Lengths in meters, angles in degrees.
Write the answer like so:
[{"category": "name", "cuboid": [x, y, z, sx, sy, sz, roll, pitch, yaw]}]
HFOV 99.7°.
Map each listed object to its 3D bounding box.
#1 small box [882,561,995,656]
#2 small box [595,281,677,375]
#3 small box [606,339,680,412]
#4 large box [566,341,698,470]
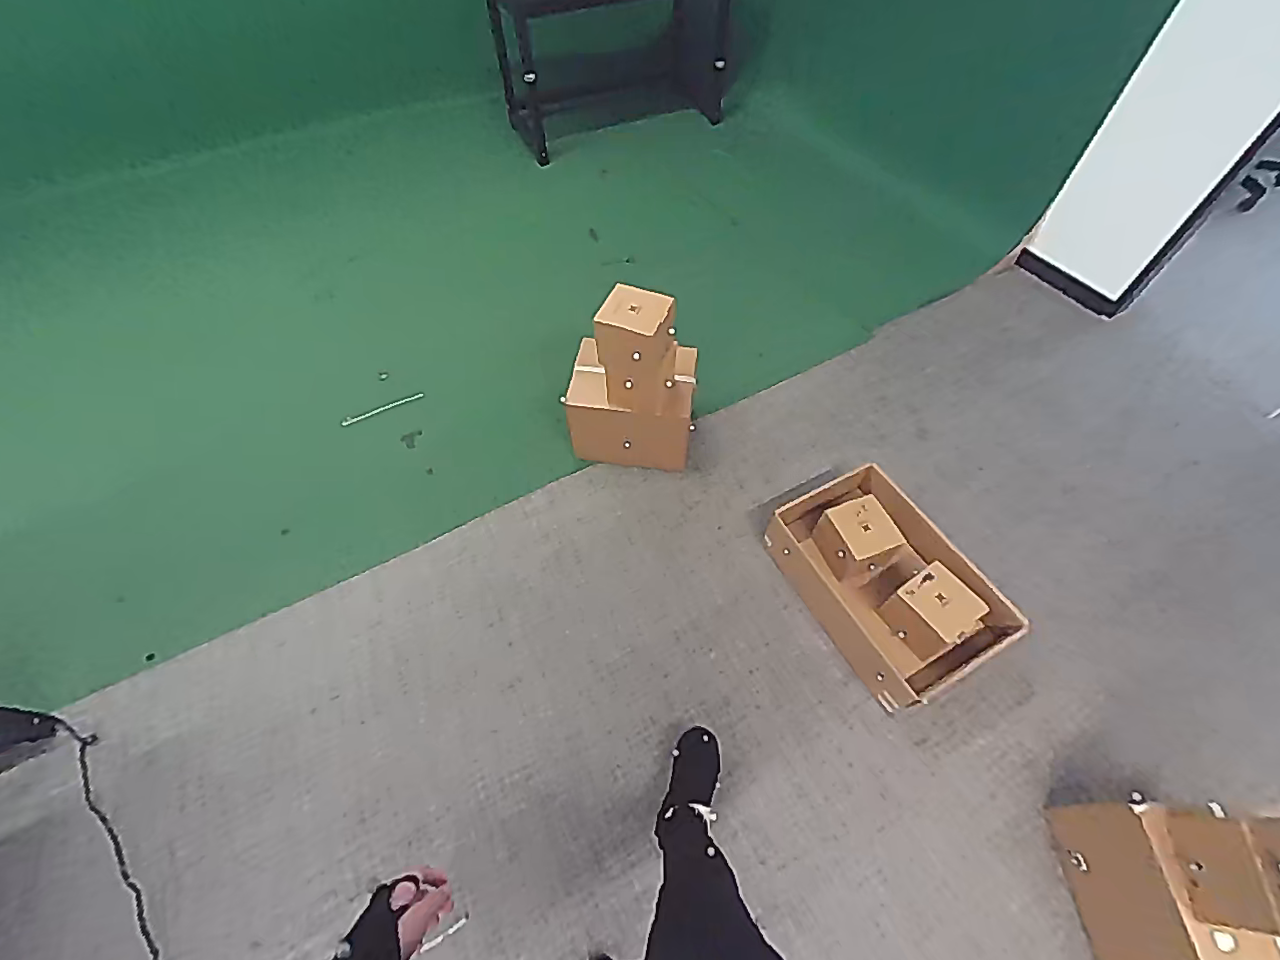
[{"category": "small box", "cuboid": [0.805, 0.359, 1.475, 0.168, 0.176, 0.179, -30, 61, -16]}, {"category": "small box", "cuboid": [-0.007, -0.418, 1.508, 0.179, 0.176, 0.168, 19, 60, 14]}, {"category": "small box", "cuboid": [0.013, -0.329, 1.644, 0.179, 0.176, 0.168, 16, 61, 12]}, {"category": "large box", "cuboid": [-0.011, -0.256, 1.888, 0.408, 0.320, 0.320, 6, 56, 6]}]
